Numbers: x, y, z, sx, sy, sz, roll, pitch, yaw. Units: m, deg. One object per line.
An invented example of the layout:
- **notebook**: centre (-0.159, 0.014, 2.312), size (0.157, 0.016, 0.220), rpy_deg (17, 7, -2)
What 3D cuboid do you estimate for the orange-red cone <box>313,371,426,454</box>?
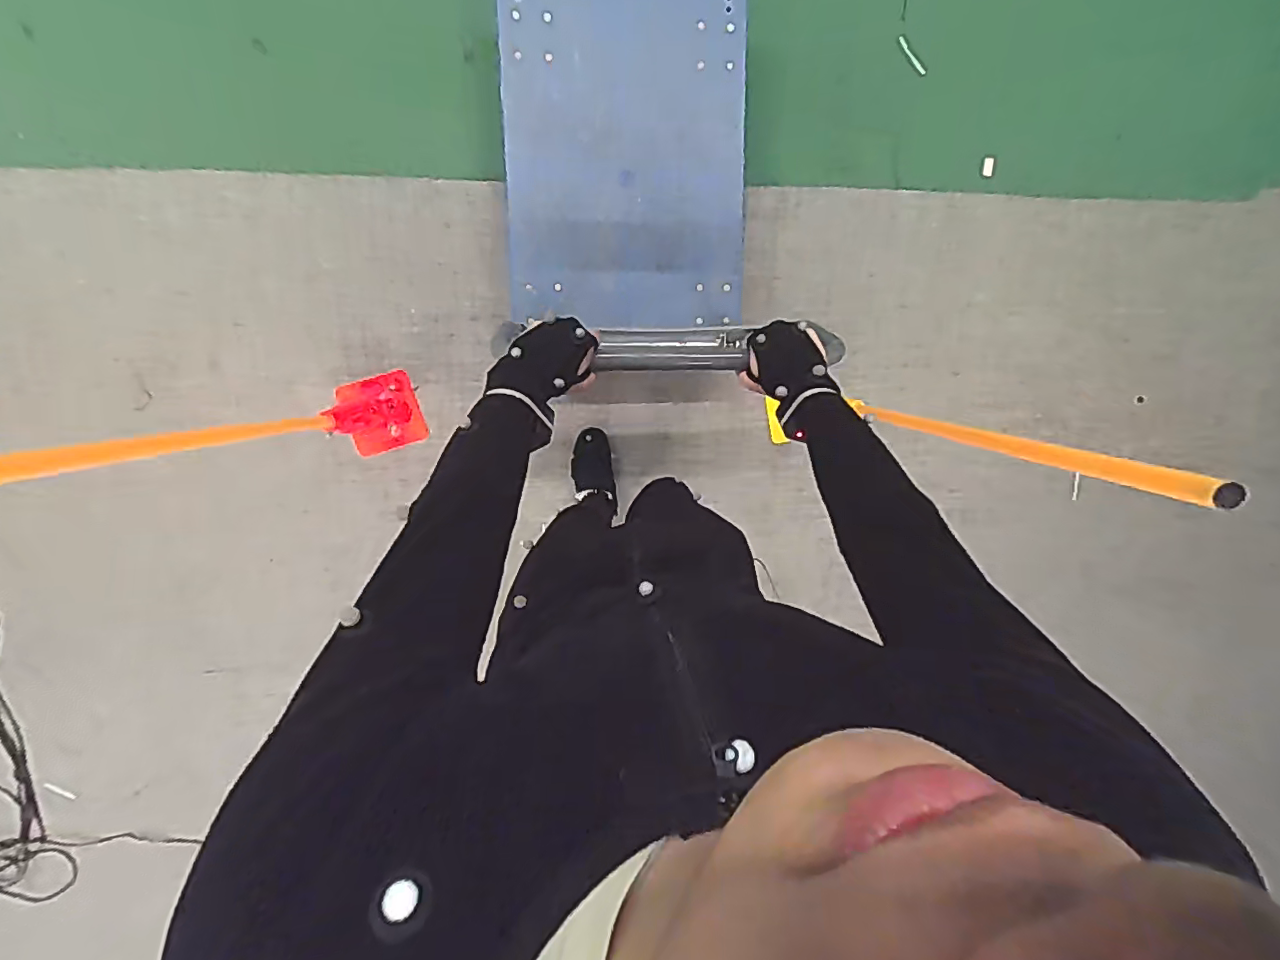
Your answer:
- **orange-red cone**: centre (-0.682, -0.151, 1.296), size (0.199, 0.360, 0.198), rpy_deg (-16, 101, -3)
